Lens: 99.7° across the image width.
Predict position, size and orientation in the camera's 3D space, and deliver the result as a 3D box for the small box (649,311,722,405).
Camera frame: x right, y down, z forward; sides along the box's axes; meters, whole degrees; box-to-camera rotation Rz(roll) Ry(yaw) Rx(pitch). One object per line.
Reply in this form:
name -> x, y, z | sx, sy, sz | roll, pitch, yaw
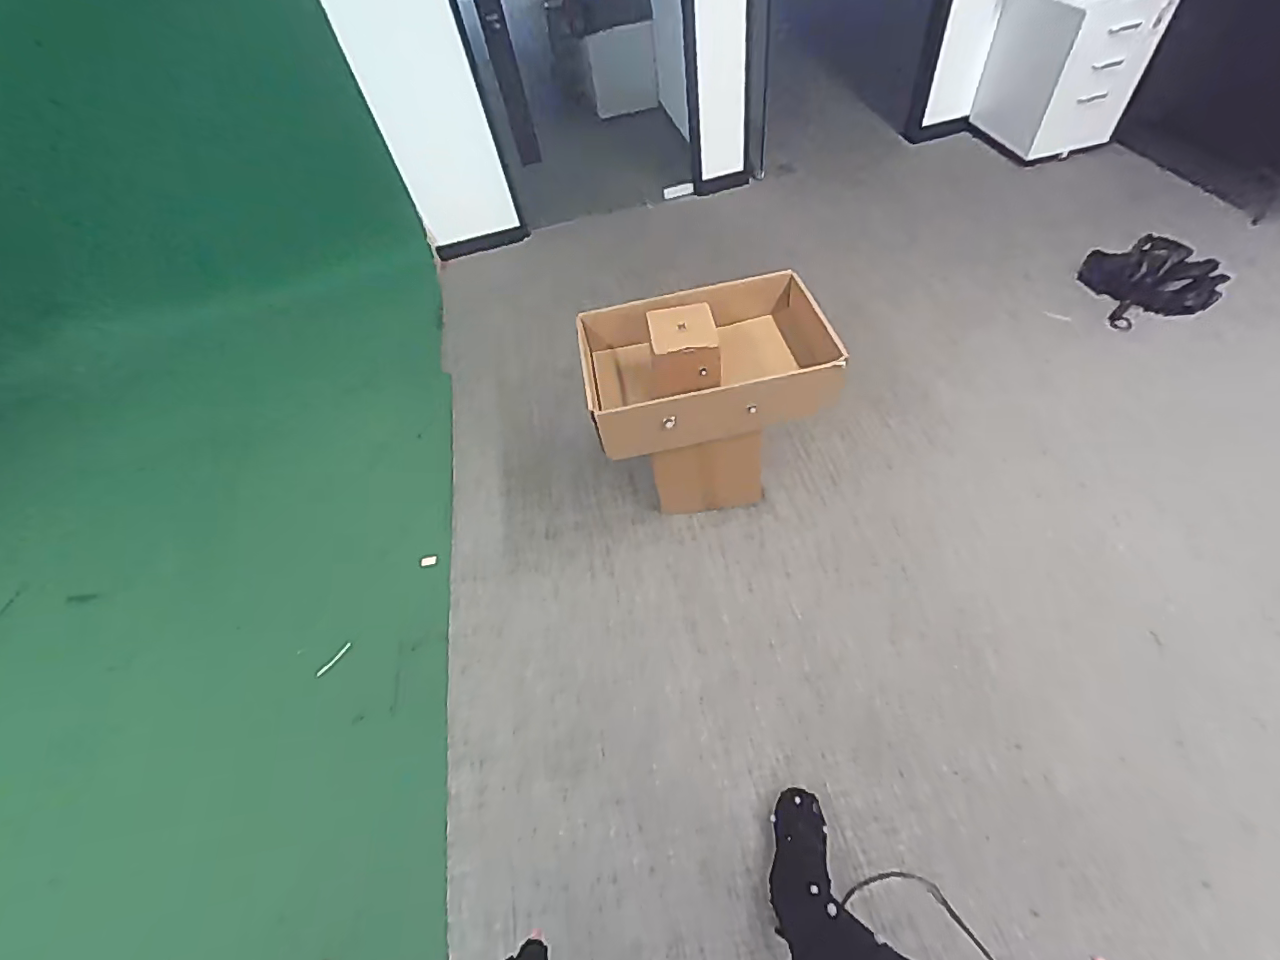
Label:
small box -> 0.120, -0.313, 1.420 | 0.168, 0.176, 0.179 | -8, 50, 0
